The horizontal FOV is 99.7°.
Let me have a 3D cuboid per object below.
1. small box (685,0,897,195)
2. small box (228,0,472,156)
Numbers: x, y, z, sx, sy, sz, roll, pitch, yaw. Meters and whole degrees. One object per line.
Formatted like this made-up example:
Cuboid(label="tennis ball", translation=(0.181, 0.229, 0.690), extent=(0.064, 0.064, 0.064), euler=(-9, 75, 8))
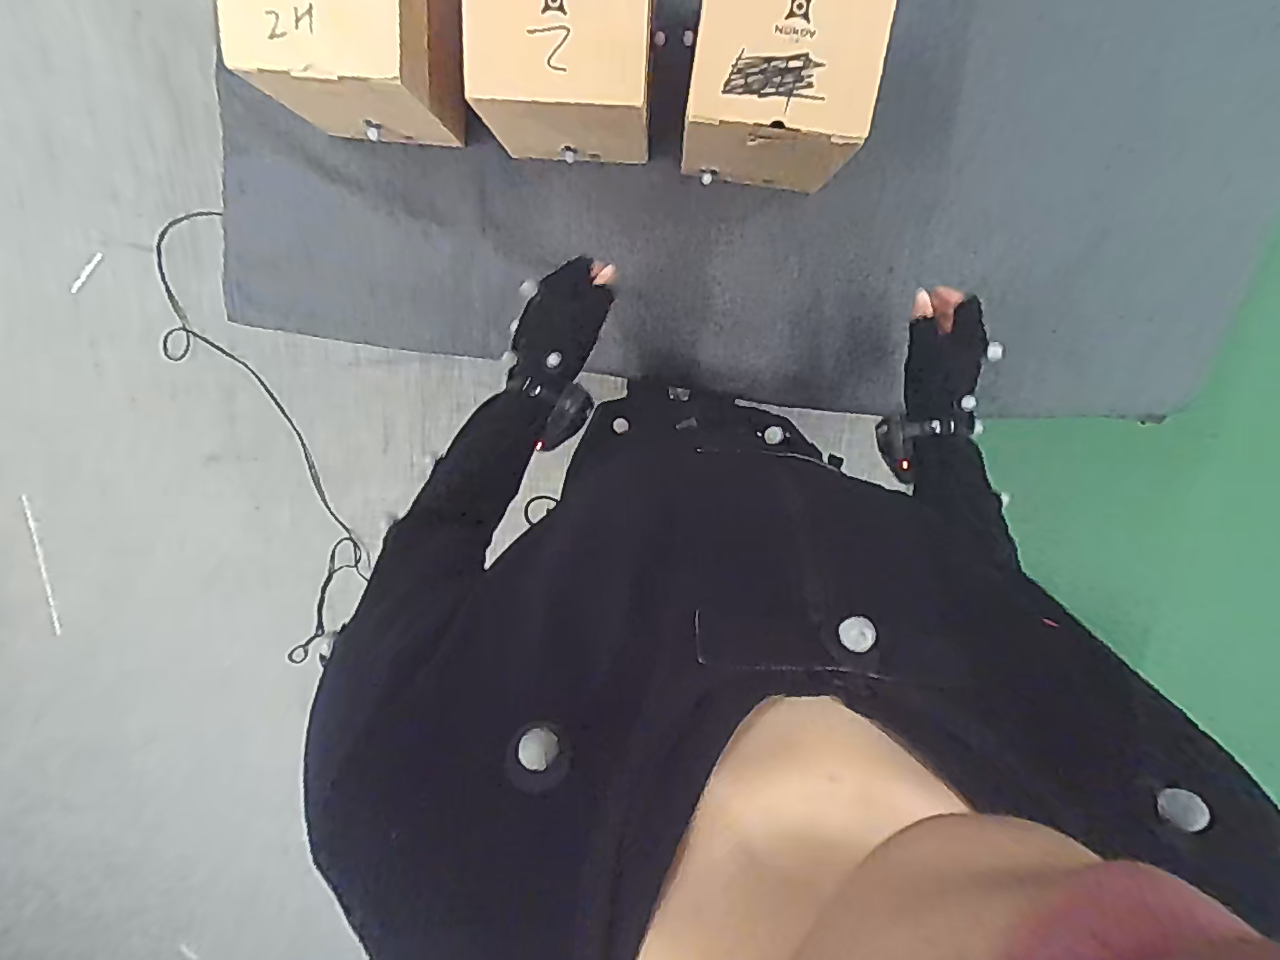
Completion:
Cuboid(label="small box", translation=(0.140, -0.413, 0.551), extent=(0.168, 0.176, 0.179), euler=(9, 102, 0))
Cuboid(label="small box", translation=(-0.281, -0.466, 0.556), extent=(0.168, 0.176, 0.179), euler=(6, 103, 1))
